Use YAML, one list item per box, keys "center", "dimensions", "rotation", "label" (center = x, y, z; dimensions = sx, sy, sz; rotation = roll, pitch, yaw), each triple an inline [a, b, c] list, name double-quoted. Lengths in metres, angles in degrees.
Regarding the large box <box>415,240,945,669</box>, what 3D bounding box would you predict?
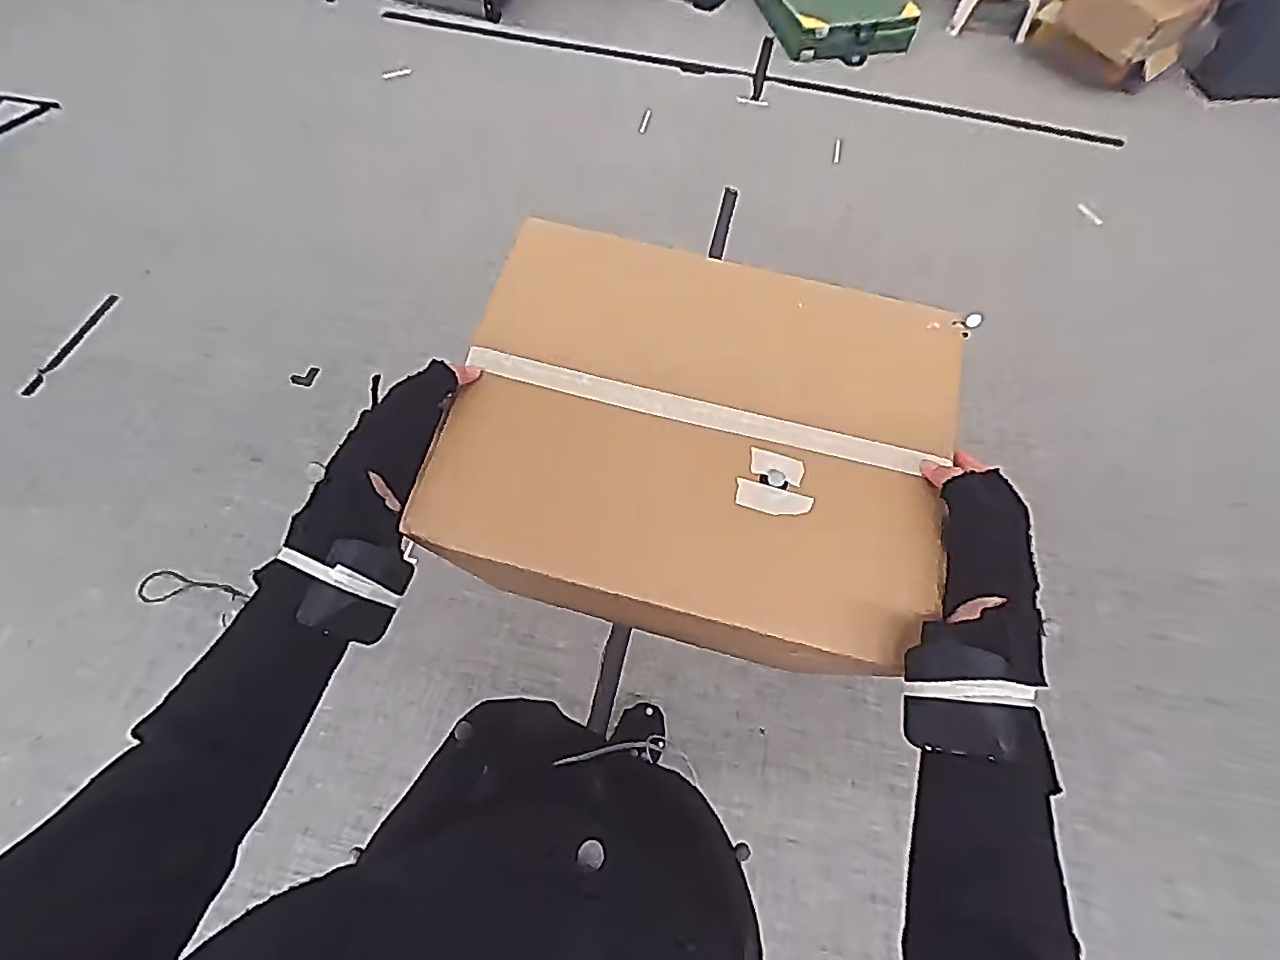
- center: [0.045, 0.003, 0.596]
  dimensions: [0.408, 0.320, 0.320]
  rotation: [14, 72, 3]
  label: "large box"
